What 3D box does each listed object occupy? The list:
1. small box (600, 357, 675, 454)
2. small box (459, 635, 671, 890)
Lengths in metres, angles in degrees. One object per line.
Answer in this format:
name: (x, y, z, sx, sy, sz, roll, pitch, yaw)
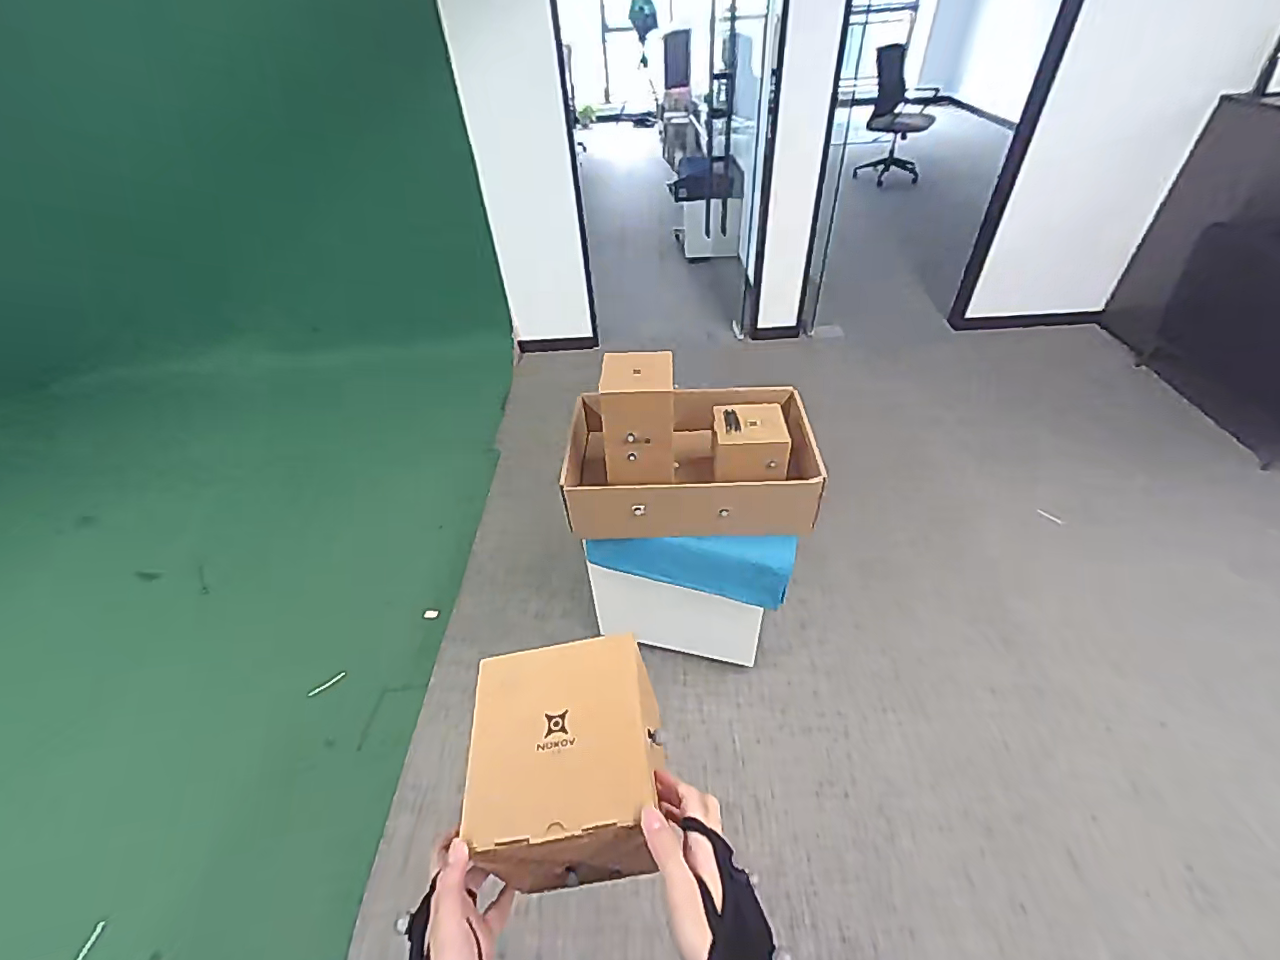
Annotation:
small box: (-0.001, -0.179, 1.299, 0.168, 0.176, 0.179, -1, 42, 3)
small box: (-0.066, 0.289, 0.557, 0.168, 0.176, 0.179, -11, 43, 2)
